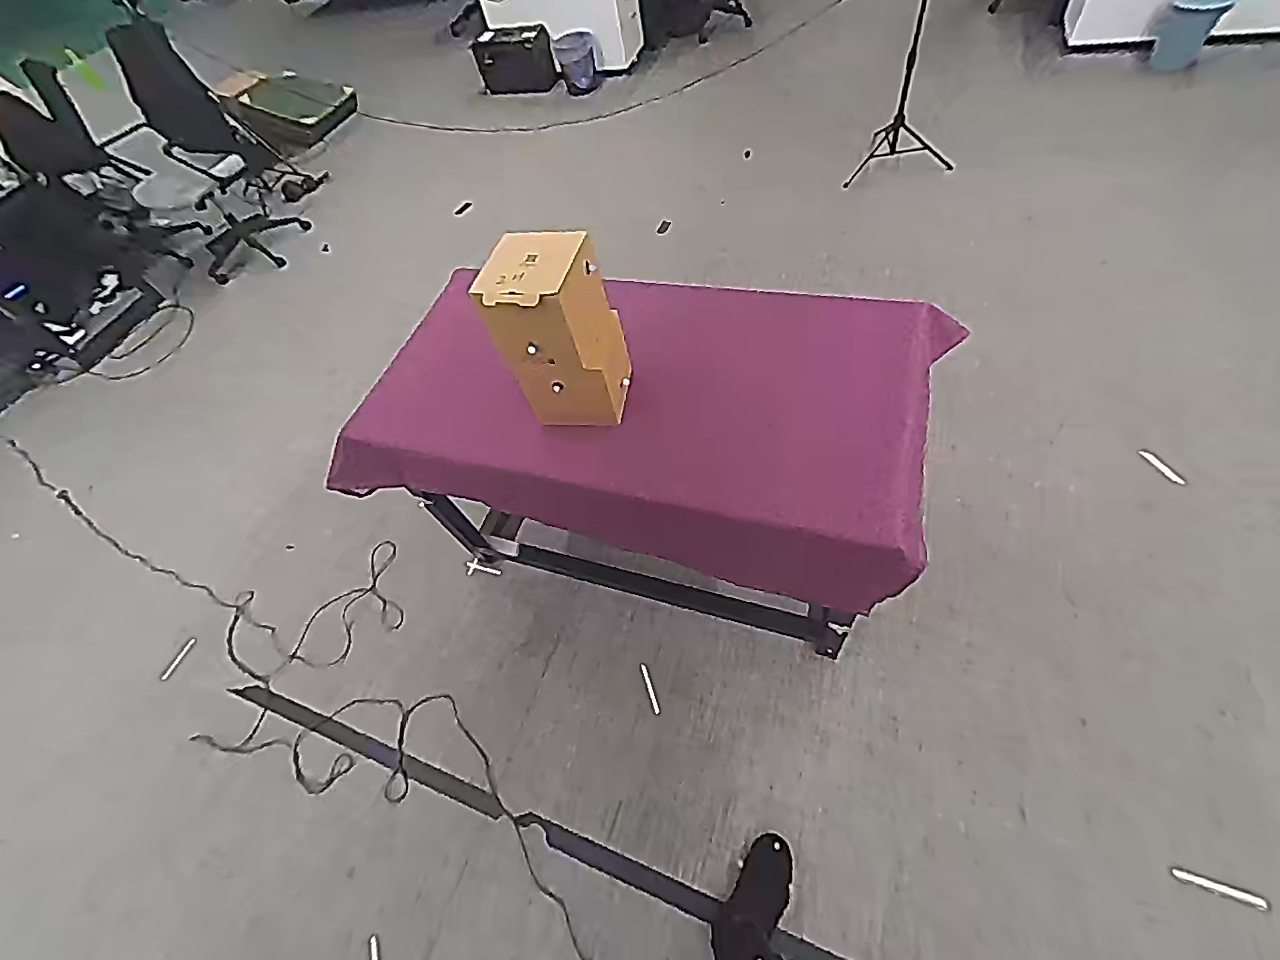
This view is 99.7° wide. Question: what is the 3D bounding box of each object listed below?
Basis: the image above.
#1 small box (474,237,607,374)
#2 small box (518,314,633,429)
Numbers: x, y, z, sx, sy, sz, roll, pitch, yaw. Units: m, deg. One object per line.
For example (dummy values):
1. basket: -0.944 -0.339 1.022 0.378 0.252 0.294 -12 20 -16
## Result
1. small box: -0.169 -0.320 0.990 0.168 0.176 0.179 7 58 16
2. small box: -0.123 -0.220 1.115 0.179 0.176 0.168 3 57 12
